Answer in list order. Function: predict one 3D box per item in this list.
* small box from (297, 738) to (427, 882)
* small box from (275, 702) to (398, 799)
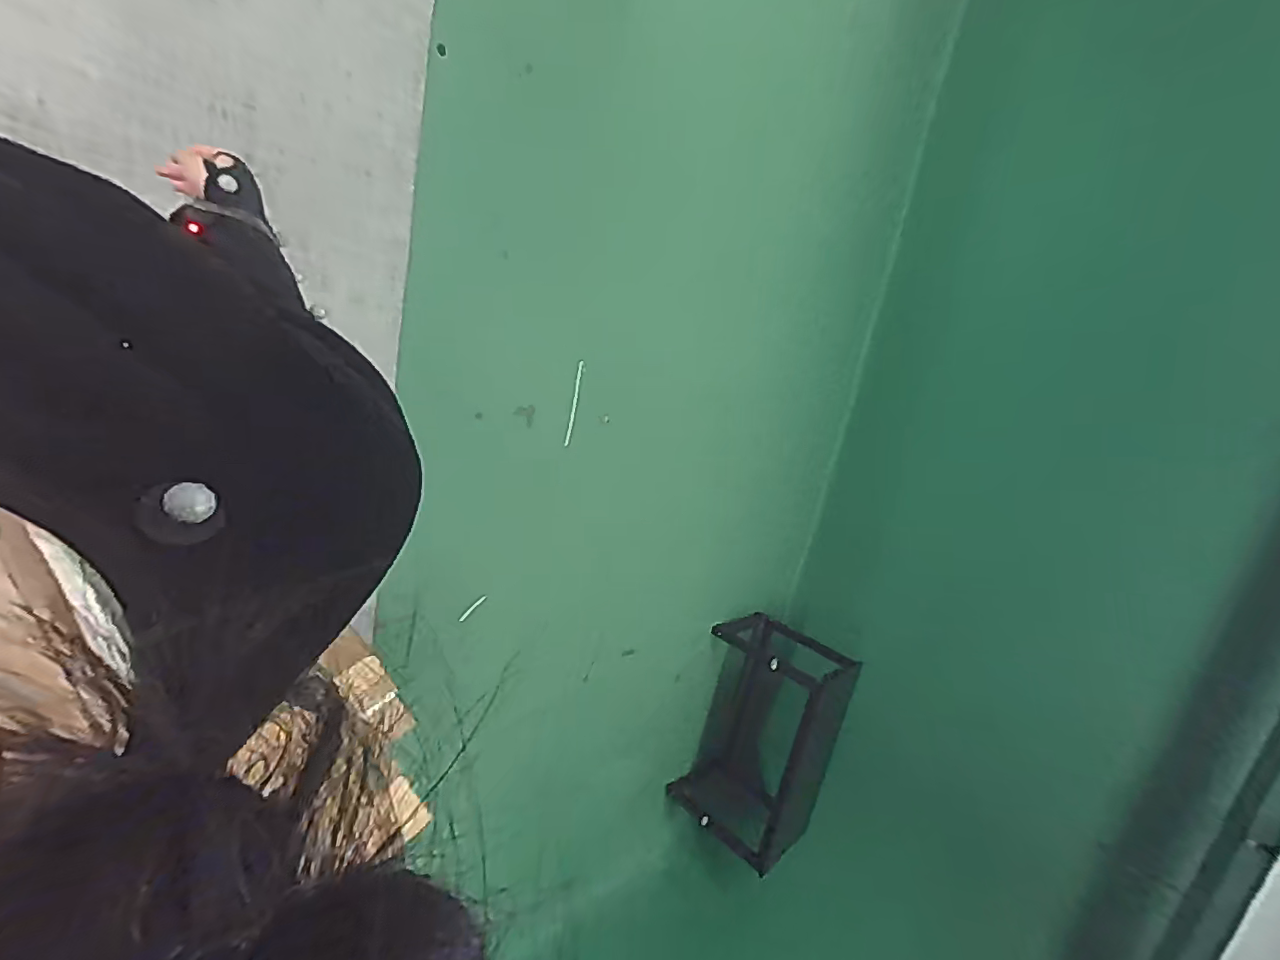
[{"bbox_3d":[-0.599,0.702,1.168,0.168,0.176,0.179,-36,129,-34],"label":"small box"},{"bbox_3d":[-0.716,0.665,1.279,0.168,0.176,0.179,-40,133,-31],"label":"small box"}]
